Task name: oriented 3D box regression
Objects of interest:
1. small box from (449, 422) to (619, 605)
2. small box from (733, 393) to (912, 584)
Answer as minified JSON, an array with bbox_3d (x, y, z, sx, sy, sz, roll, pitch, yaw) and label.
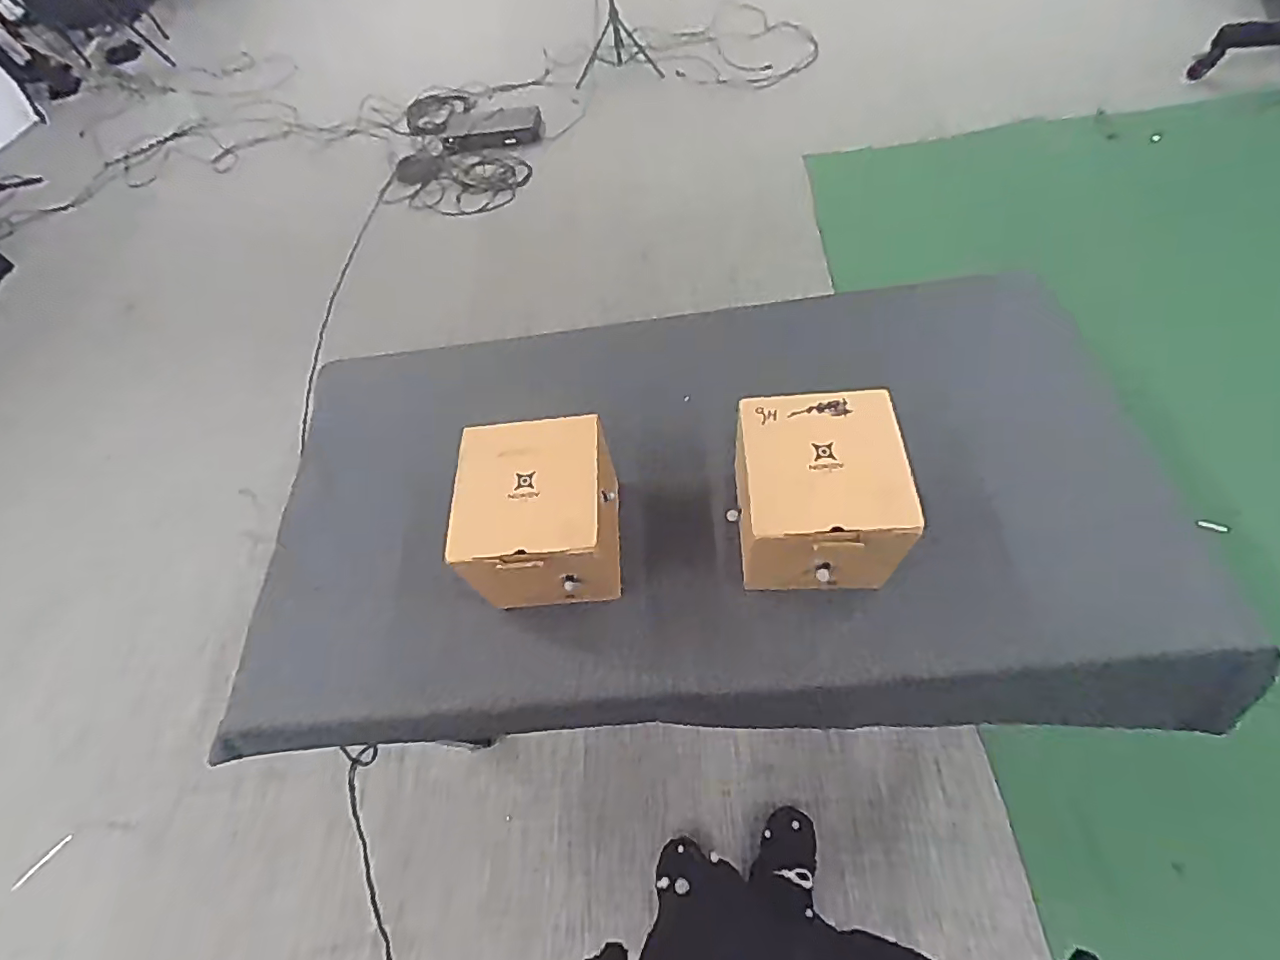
[{"bbox_3d":[-0.120,0.052,0.683,0.168,0.176,0.179,-6,59,4],"label":"small box"},{"bbox_3d":[0.201,0.021,0.648,0.168,0.176,0.179,-3,61,7],"label":"small box"}]
